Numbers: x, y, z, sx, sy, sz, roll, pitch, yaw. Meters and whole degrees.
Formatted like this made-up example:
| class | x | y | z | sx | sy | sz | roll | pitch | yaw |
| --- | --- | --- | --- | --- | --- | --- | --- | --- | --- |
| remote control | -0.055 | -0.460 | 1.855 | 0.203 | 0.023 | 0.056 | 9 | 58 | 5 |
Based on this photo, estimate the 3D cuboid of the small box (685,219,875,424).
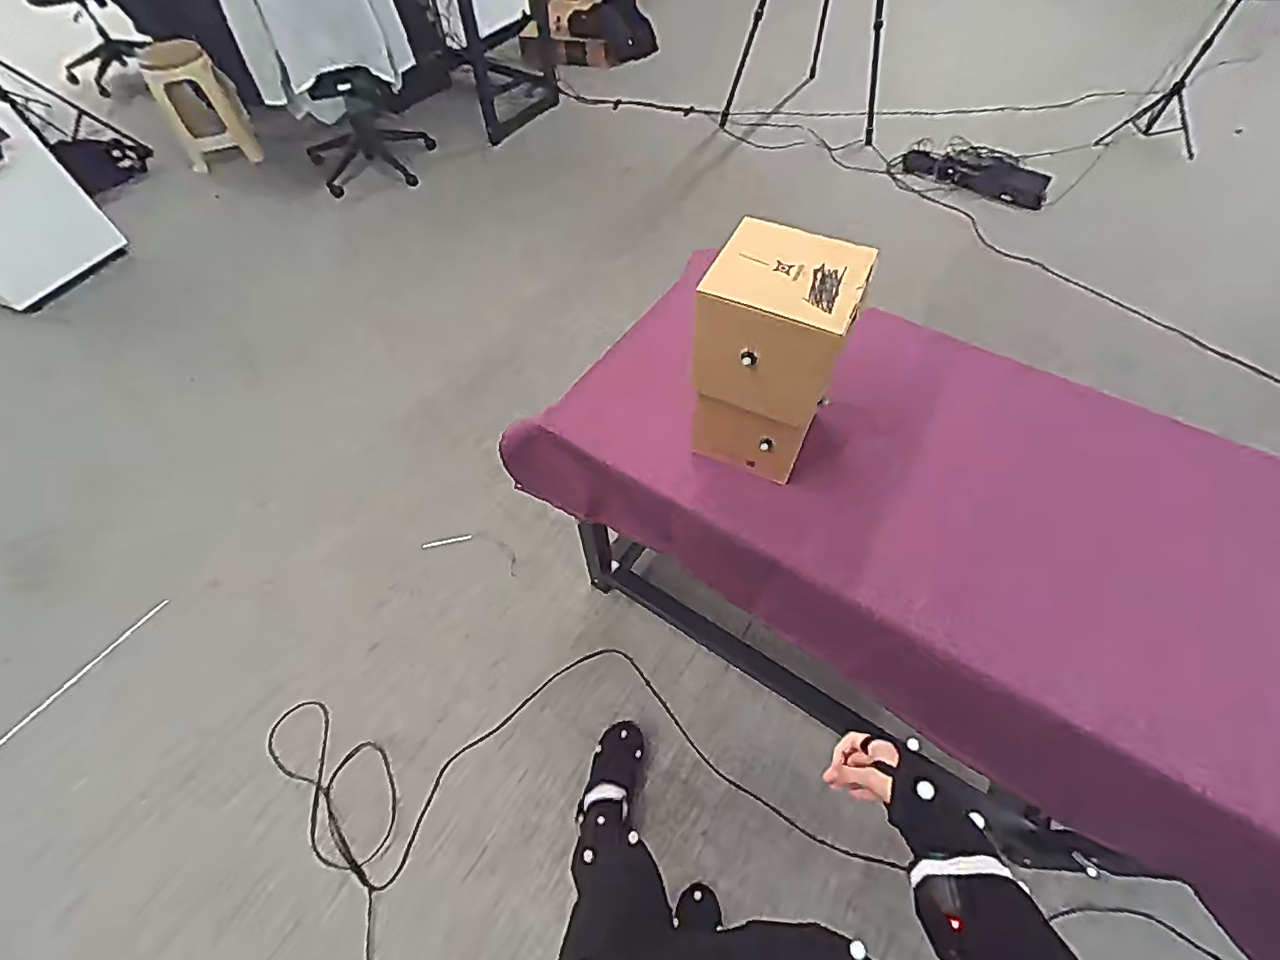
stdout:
| class | x | y | z | sx | sy | sz | roll | pitch | yaw |
| --- | --- | --- | --- | --- | --- | --- | --- | --- | --- |
| small box | 0.172 | -0.198 | 0.702 | 0.179 | 0.176 | 0.168 | 23 | 60 | 15 |

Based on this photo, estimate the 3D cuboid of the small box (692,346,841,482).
| class | x | y | z | sx | sy | sz | roll | pitch | yaw |
| --- | --- | --- | --- | --- | --- | --- | --- | --- | --- |
| small box | 0.189 | -0.126 | 0.850 | 0.168 | 0.176 | 0.179 | 24 | 59 | 15 |
